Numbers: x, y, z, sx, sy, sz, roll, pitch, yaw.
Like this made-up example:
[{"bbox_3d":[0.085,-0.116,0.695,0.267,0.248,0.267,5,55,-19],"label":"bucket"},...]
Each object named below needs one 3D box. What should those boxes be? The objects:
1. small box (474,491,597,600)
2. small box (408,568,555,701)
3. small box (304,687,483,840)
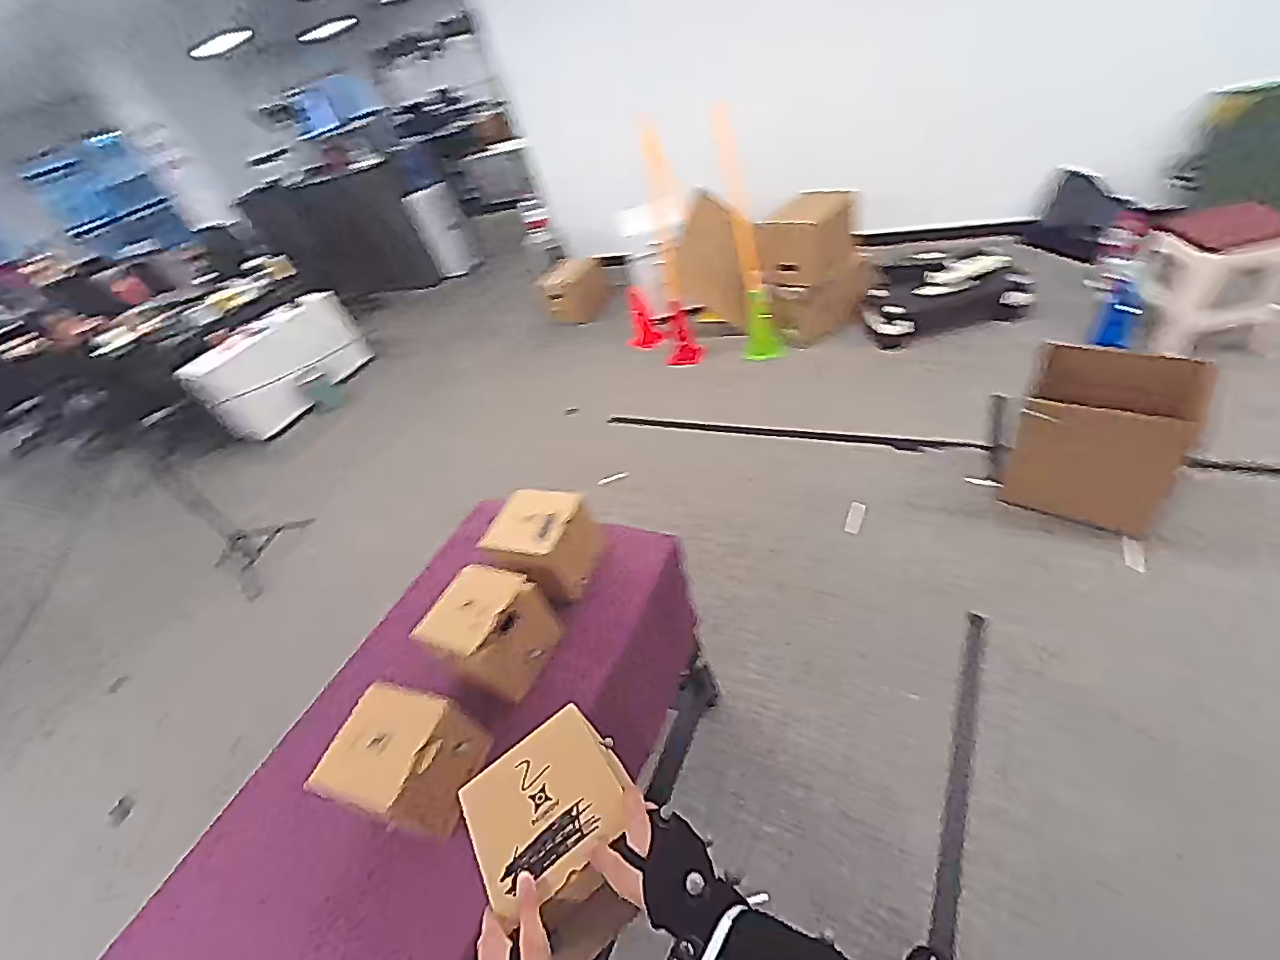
[{"bbox_3d":[-0.217,0.144,1.181,0.179,0.176,0.168,3,46,26],"label":"small box"},{"bbox_3d":[-0.298,0.299,1.047,0.179,0.176,0.168,9,49,29],"label":"small box"},{"bbox_3d":[-0.396,0.473,0.901,0.179,0.176,0.168,1,45,23],"label":"small box"}]
